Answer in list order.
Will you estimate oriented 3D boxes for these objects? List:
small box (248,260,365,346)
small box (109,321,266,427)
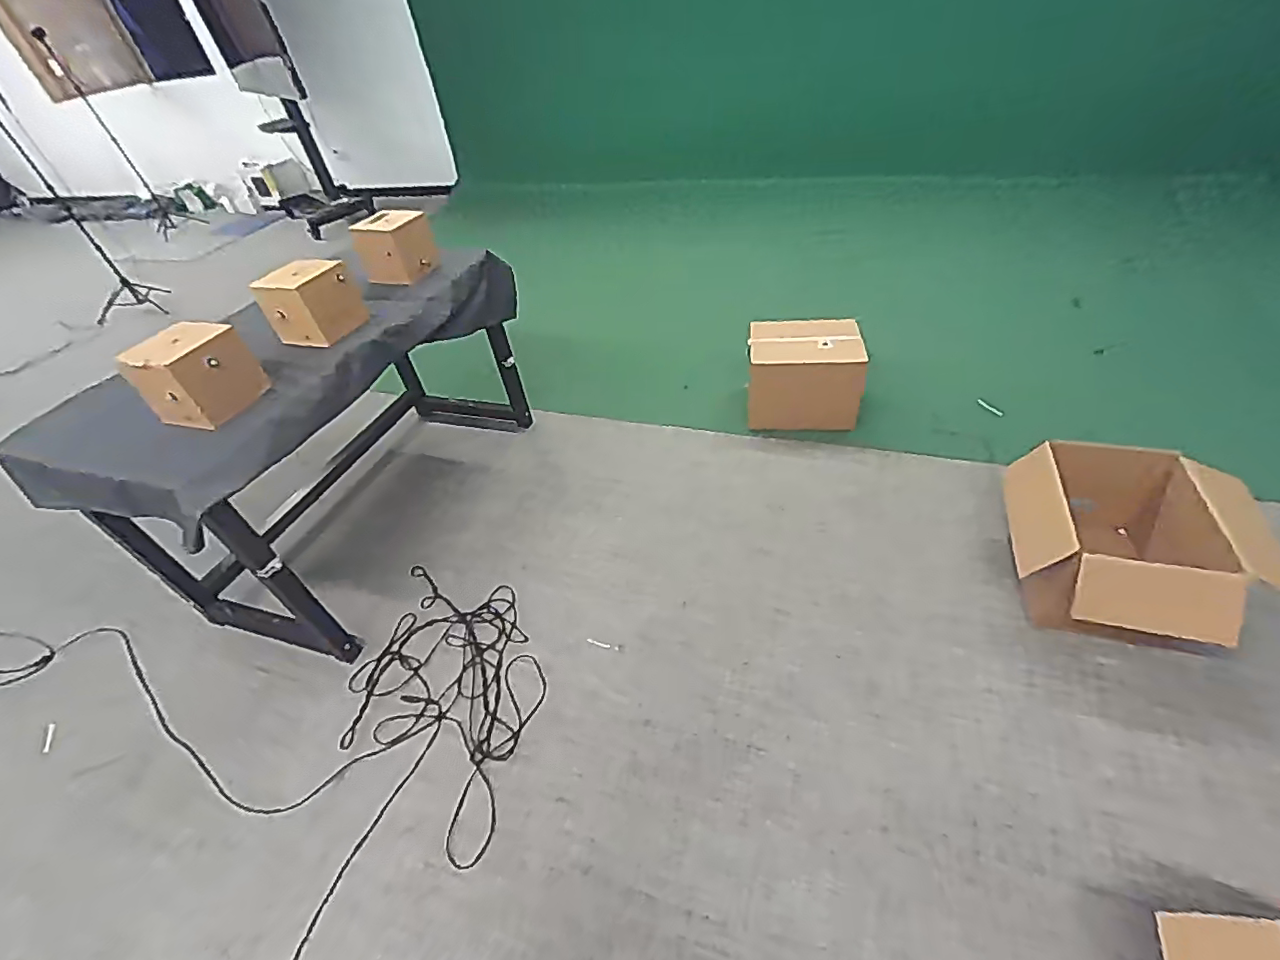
[{"bbox_3d":[-0.884,-0.475,1.454,0.168,0.176,0.179,9,44,18],"label":"small box"},{"bbox_3d":[-0.997,-0.238,1.212,0.168,0.176,0.179,9,44,16],"label":"small box"}]
